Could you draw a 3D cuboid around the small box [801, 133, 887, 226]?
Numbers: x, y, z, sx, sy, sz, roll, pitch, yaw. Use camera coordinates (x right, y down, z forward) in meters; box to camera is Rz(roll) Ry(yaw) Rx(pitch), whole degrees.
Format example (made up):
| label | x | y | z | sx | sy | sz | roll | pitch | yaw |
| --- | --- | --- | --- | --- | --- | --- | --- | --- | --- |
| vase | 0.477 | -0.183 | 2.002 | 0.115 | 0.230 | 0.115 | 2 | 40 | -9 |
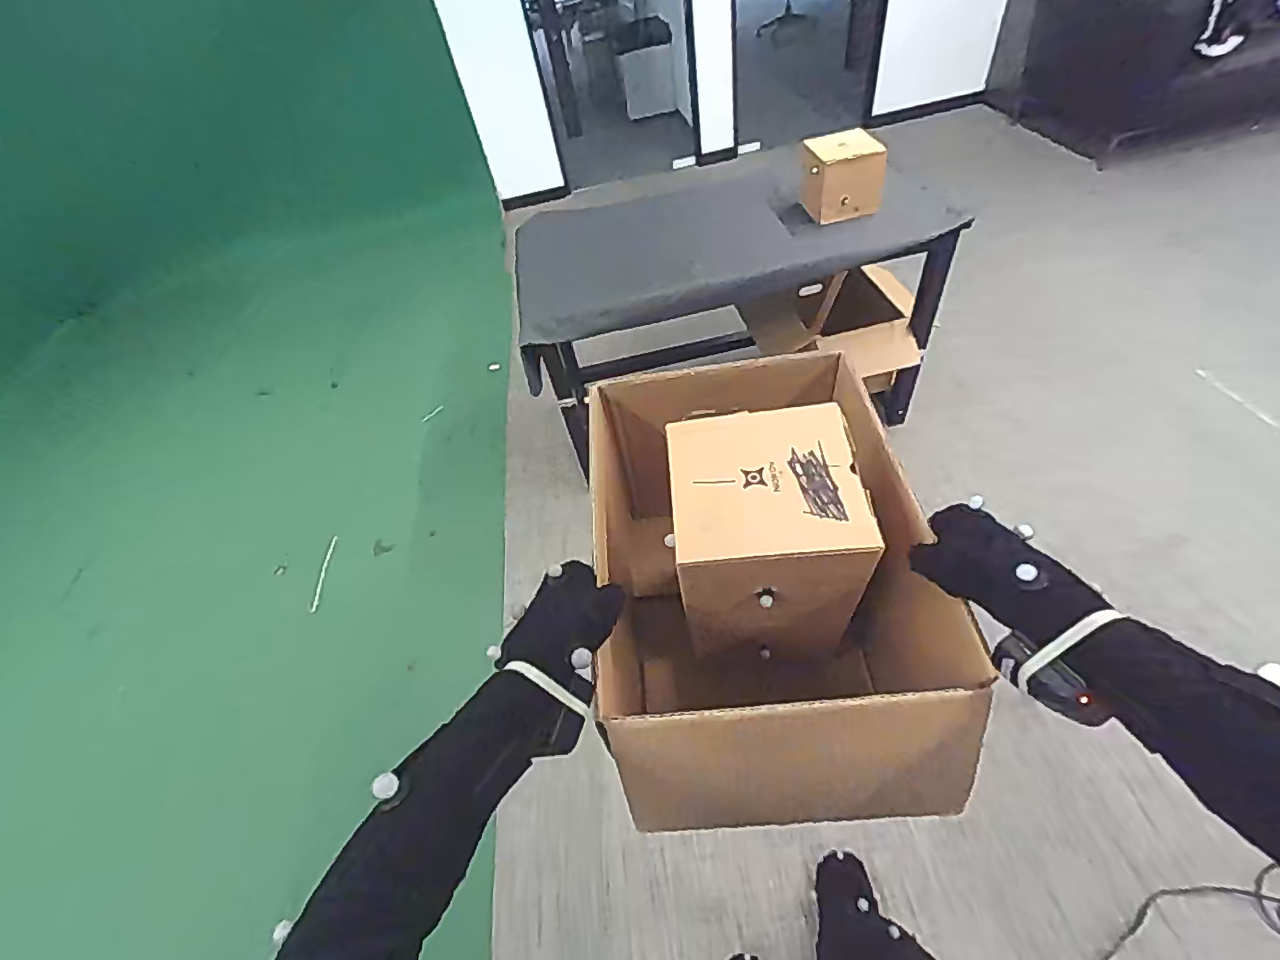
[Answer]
| label | x | y | z | sx | sy | sz | roll | pitch | yaw |
| --- | --- | --- | --- | --- | --- | --- | --- | --- | --- |
| small box | 0.562 | -0.840 | 1.515 | 0.168 | 0.176 | 0.179 | -12 | 49 | 1 |
